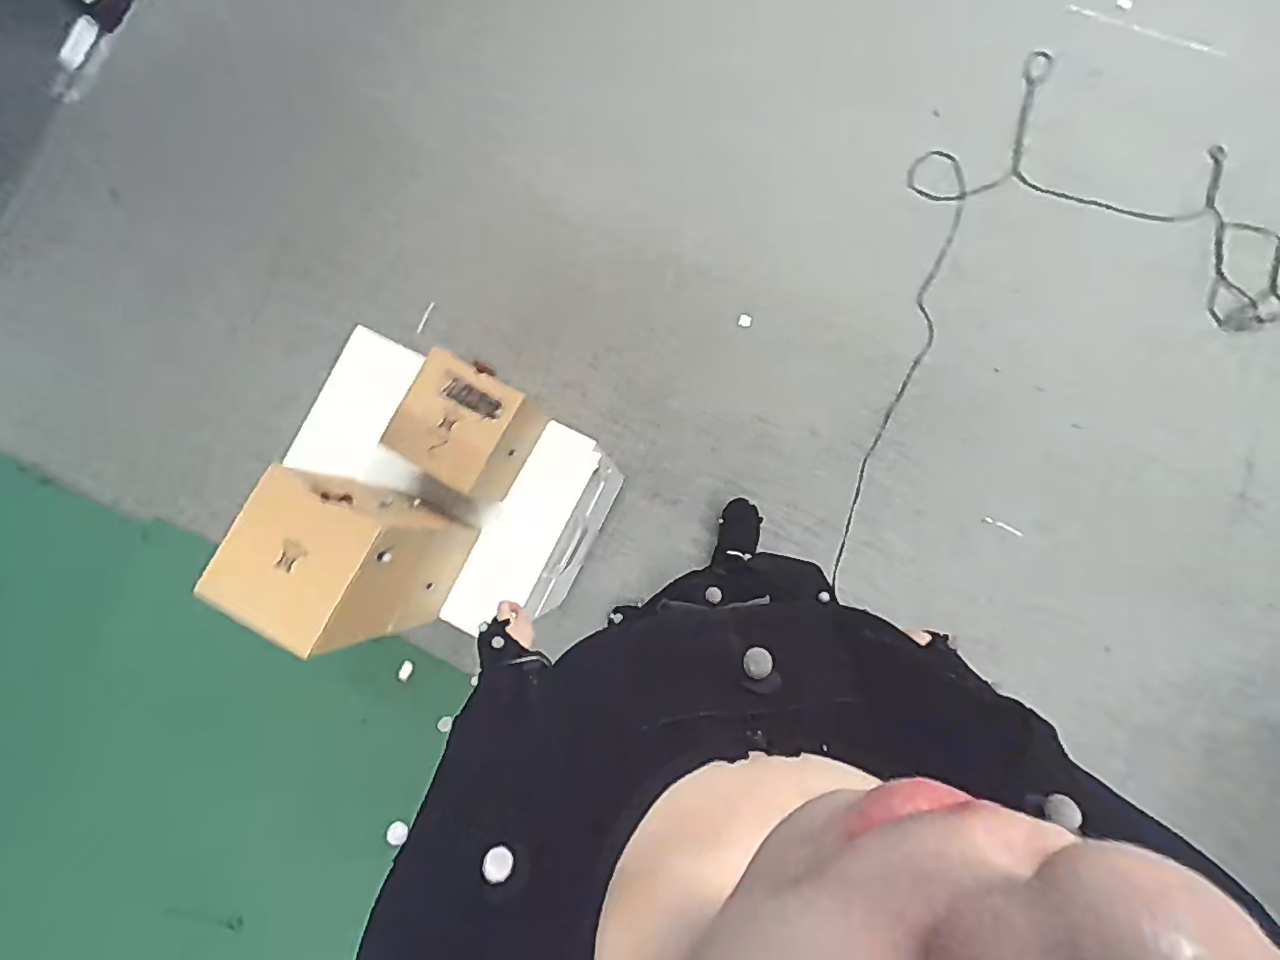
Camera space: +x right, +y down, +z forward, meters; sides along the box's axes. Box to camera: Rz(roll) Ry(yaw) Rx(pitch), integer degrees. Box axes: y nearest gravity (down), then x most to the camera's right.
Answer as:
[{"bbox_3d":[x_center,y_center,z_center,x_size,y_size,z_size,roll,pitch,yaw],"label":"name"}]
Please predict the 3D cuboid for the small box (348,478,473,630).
[{"bbox_3d":[-0.396,0.115,0.873,0.168,0.176,0.179,25,86,5],"label":"small box"}]

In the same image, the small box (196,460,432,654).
[{"bbox_3d":[-0.408,0.098,0.711,0.168,0.176,0.179,27,85,6],"label":"small box"}]
